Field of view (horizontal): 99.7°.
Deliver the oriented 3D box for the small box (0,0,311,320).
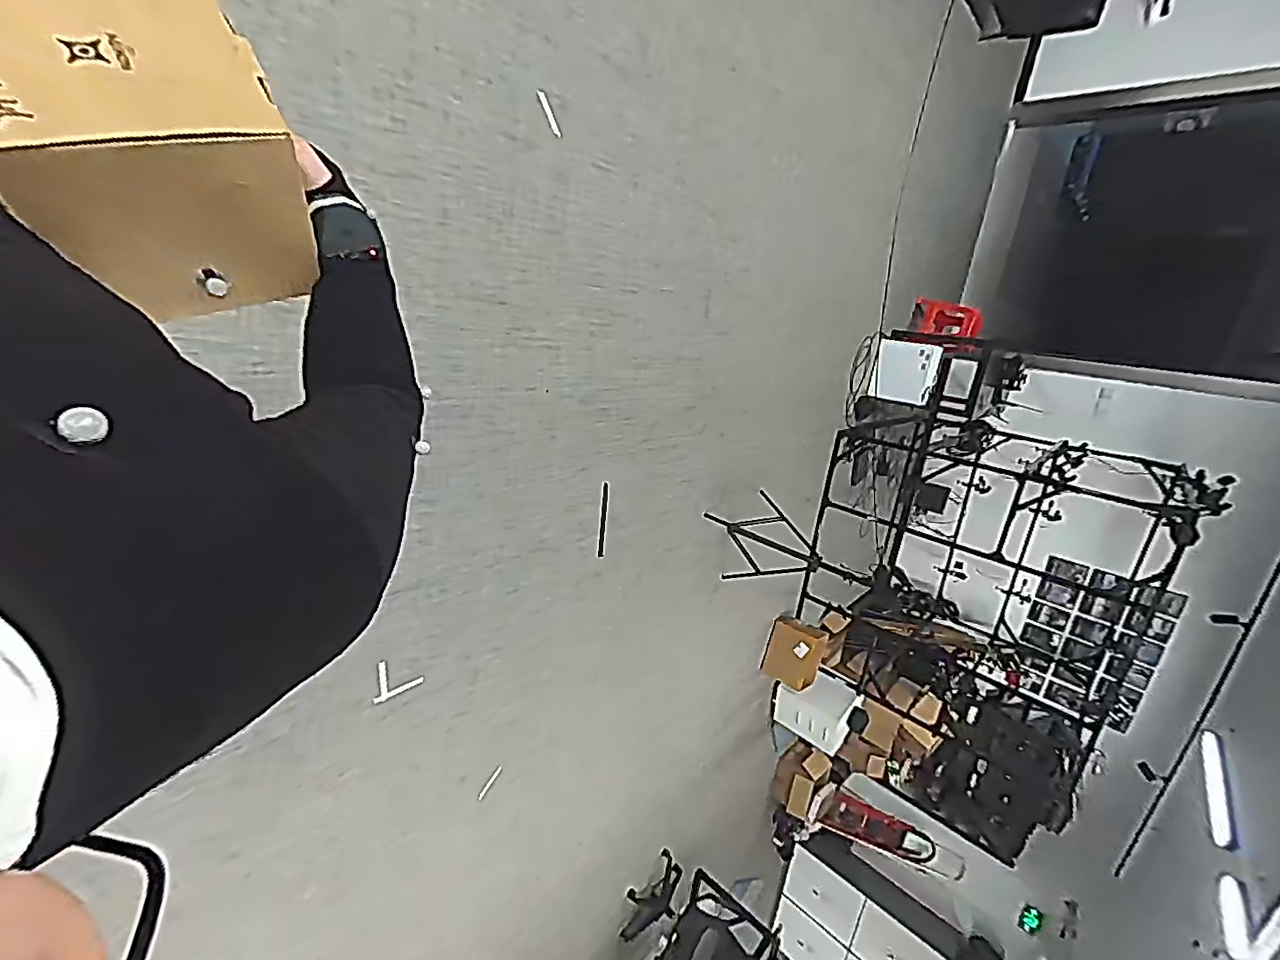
[{"bbox_3d":[-0.401,-0.262,0.452,0.179,0.168,0.176,-25,167,-30],"label":"small box"}]
